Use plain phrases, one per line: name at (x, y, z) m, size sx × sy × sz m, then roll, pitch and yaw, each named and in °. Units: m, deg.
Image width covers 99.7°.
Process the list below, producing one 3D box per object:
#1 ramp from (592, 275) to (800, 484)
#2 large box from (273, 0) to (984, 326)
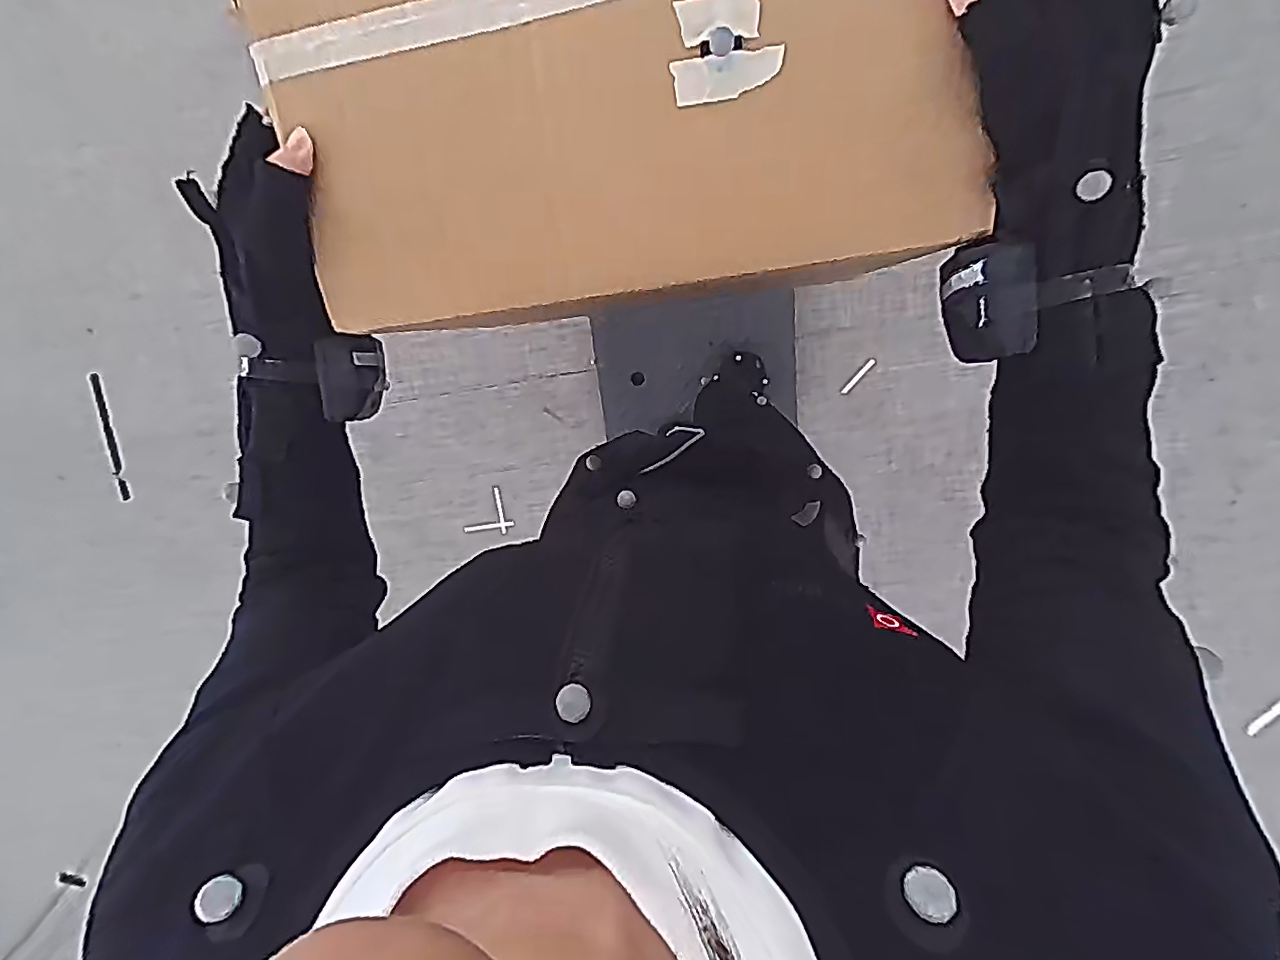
ramp at (0.119, -0.470, 1.276) m, size 0.509 × 0.206 × 0.991 m, roll -6°, pitch 100°, yaw 9°
large box at (-0.004, -0.316, 0.443) m, size 0.408 × 0.320 × 0.320 m, roll -6°, pitch 106°, yaw 9°
